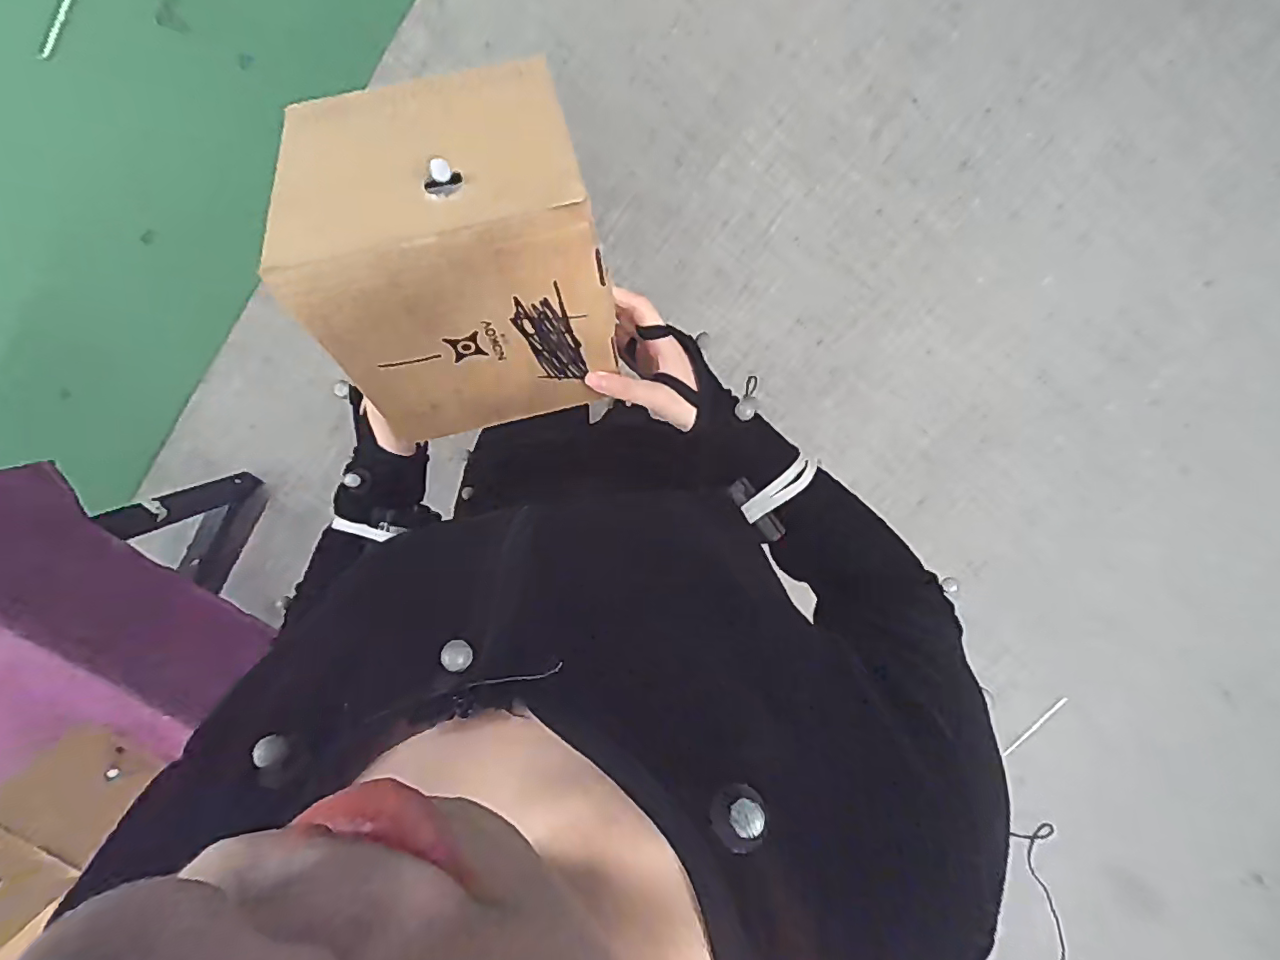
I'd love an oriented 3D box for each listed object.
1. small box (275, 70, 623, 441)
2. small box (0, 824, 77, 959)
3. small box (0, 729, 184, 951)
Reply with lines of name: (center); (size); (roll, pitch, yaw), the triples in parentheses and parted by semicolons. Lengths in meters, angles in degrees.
small box: (-0.120, -0.156, 0.389); (0.179, 0.168, 0.176); (-13, 61, -2)
small box: (-0.836, 0.549, 0.631); (0.168, 0.176, 0.179); (37, 100, -7)
small box: (-0.832, 0.513, 0.790); (0.168, 0.176, 0.179); (37, 101, -8)
